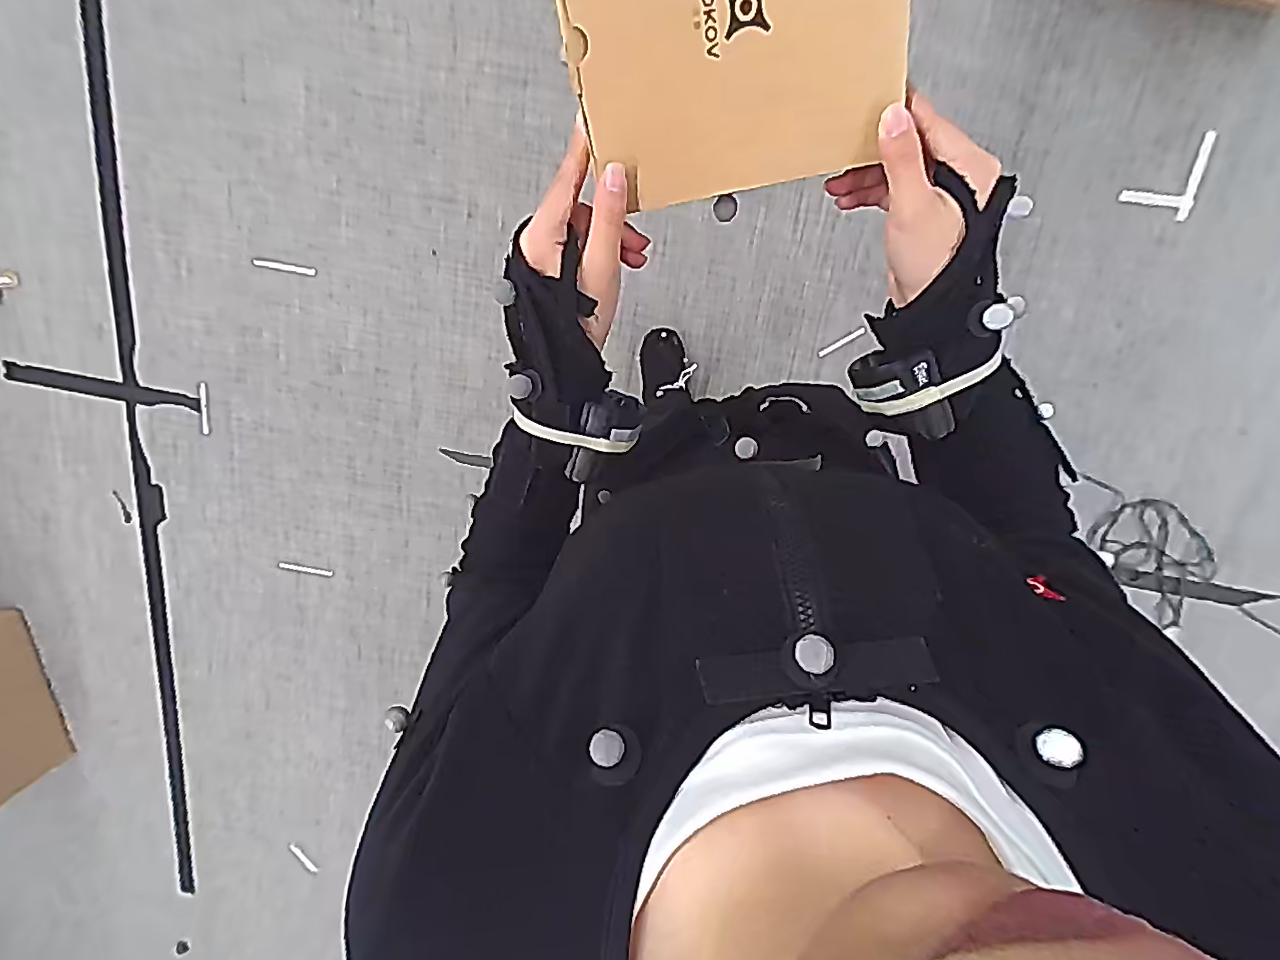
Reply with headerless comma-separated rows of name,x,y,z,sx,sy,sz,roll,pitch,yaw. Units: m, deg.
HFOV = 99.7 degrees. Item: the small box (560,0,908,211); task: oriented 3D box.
small box,0.045,-0.279,0.339,0.179,0.176,0.168,-10,119,4
